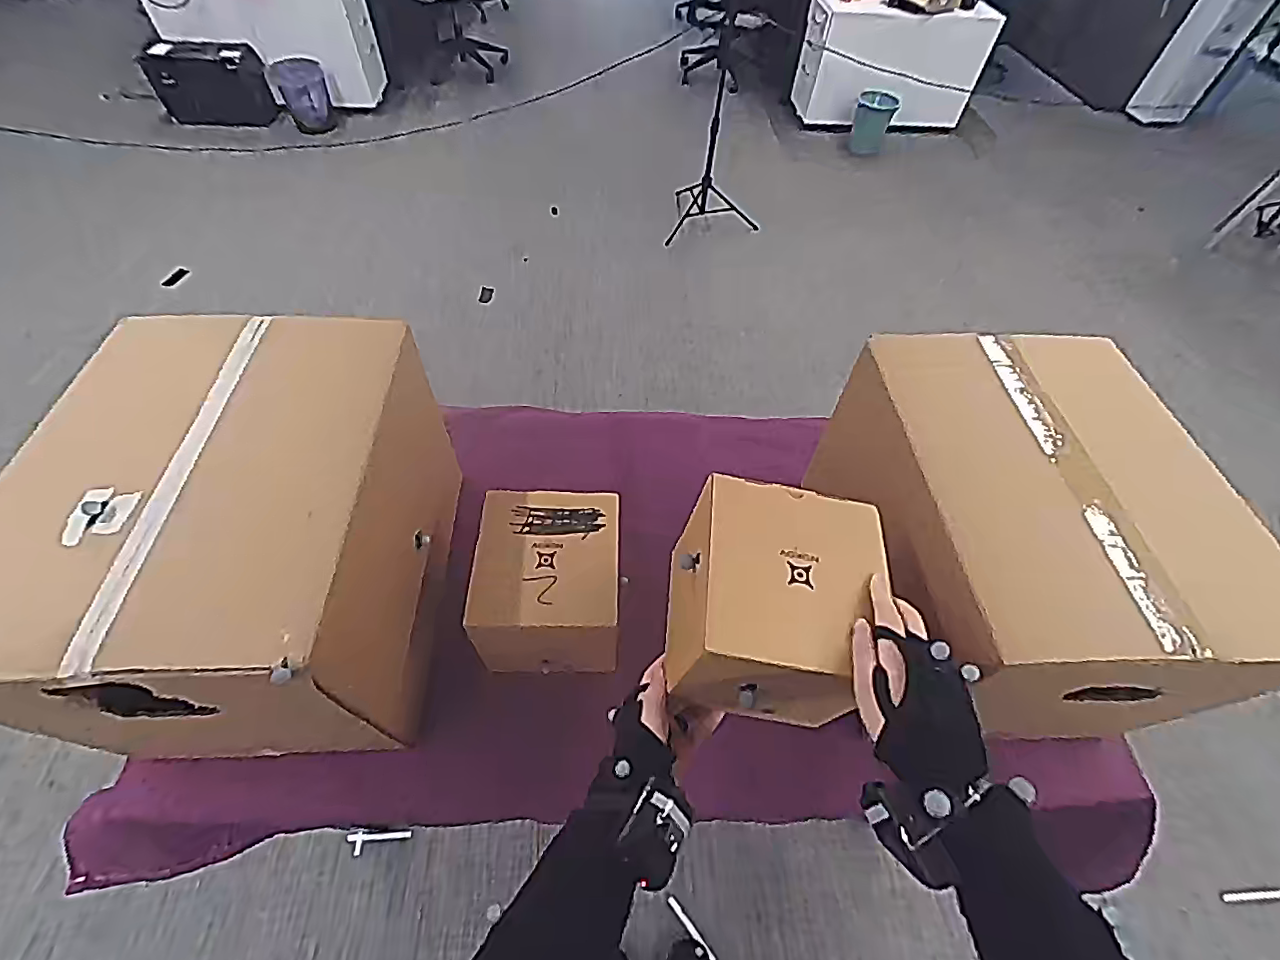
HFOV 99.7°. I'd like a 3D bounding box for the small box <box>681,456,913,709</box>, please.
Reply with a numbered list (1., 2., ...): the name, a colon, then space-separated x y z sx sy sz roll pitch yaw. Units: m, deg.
1. small box: 0.137 0.091 0.513 0.179 0.176 0.168 -5 34 7
